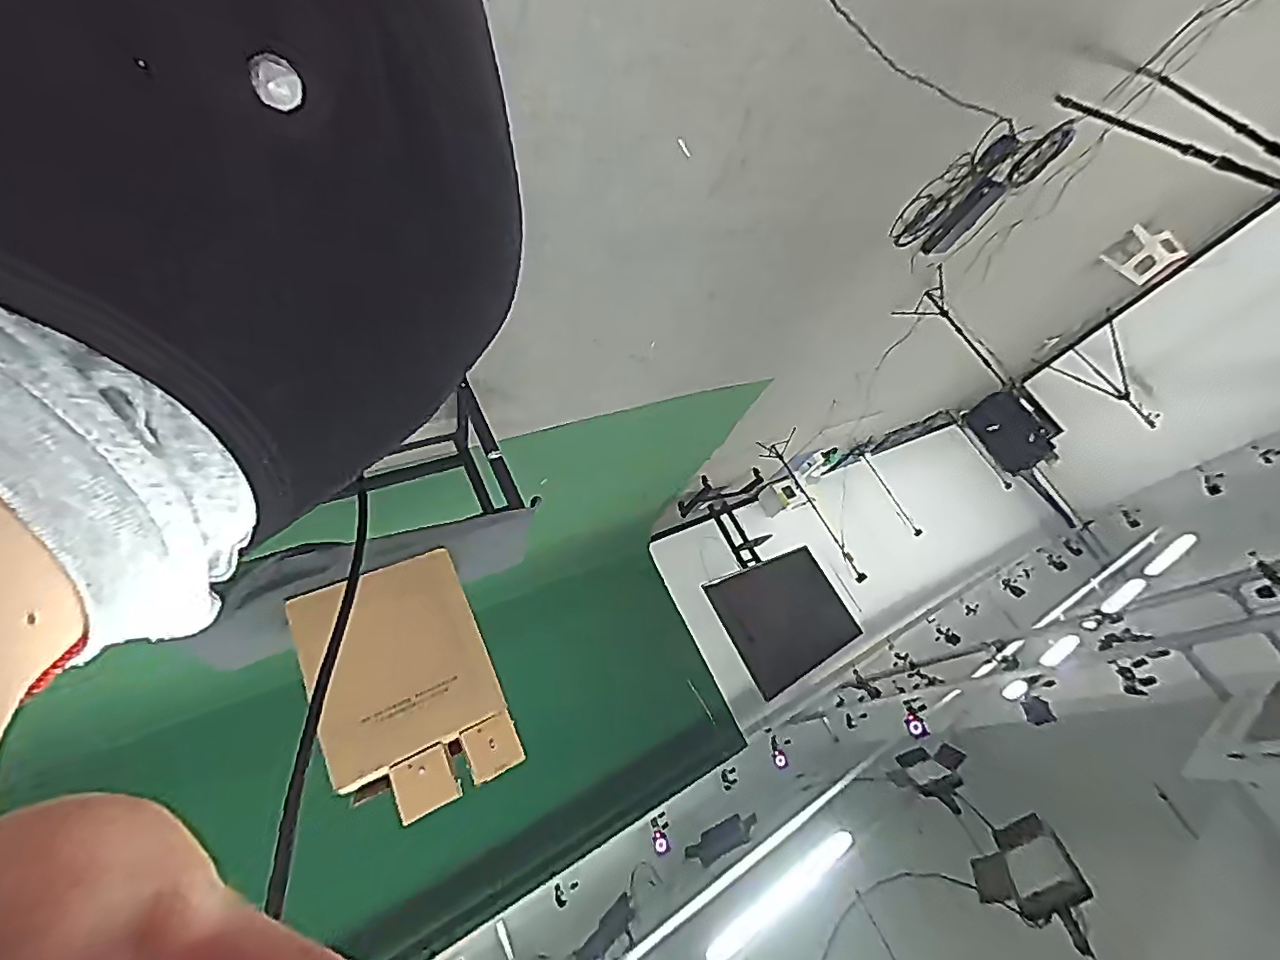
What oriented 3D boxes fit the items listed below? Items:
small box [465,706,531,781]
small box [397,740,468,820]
[{"bbox_3d":[-0.489,0.897,1.848,0.168,0.176,0.179,-21,160,-28],"label":"small box"},{"bbox_3d":[-0.666,0.960,1.742,0.168,0.176,0.179,-21,159,-22],"label":"small box"}]
